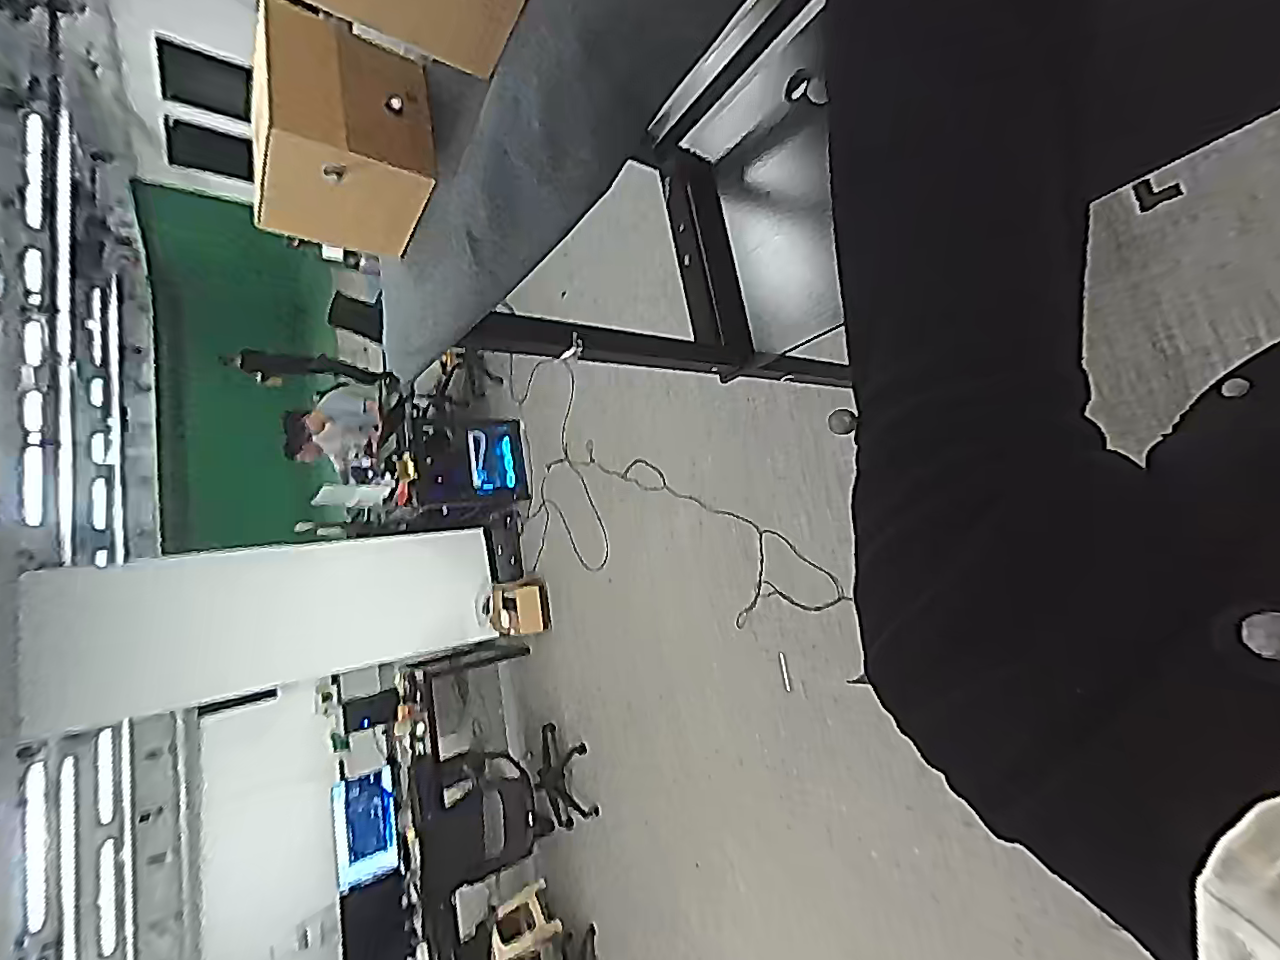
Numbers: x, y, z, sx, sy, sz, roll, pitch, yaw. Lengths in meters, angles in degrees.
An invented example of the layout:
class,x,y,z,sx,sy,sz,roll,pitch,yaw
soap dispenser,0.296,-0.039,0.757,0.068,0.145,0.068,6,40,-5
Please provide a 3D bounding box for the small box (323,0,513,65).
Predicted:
class,x,y,z,sx,sy,sz,roll,pitch,yaw
small box,-0.176,-0.487,0.418,0.179,0.176,0.168,-22,75,50
